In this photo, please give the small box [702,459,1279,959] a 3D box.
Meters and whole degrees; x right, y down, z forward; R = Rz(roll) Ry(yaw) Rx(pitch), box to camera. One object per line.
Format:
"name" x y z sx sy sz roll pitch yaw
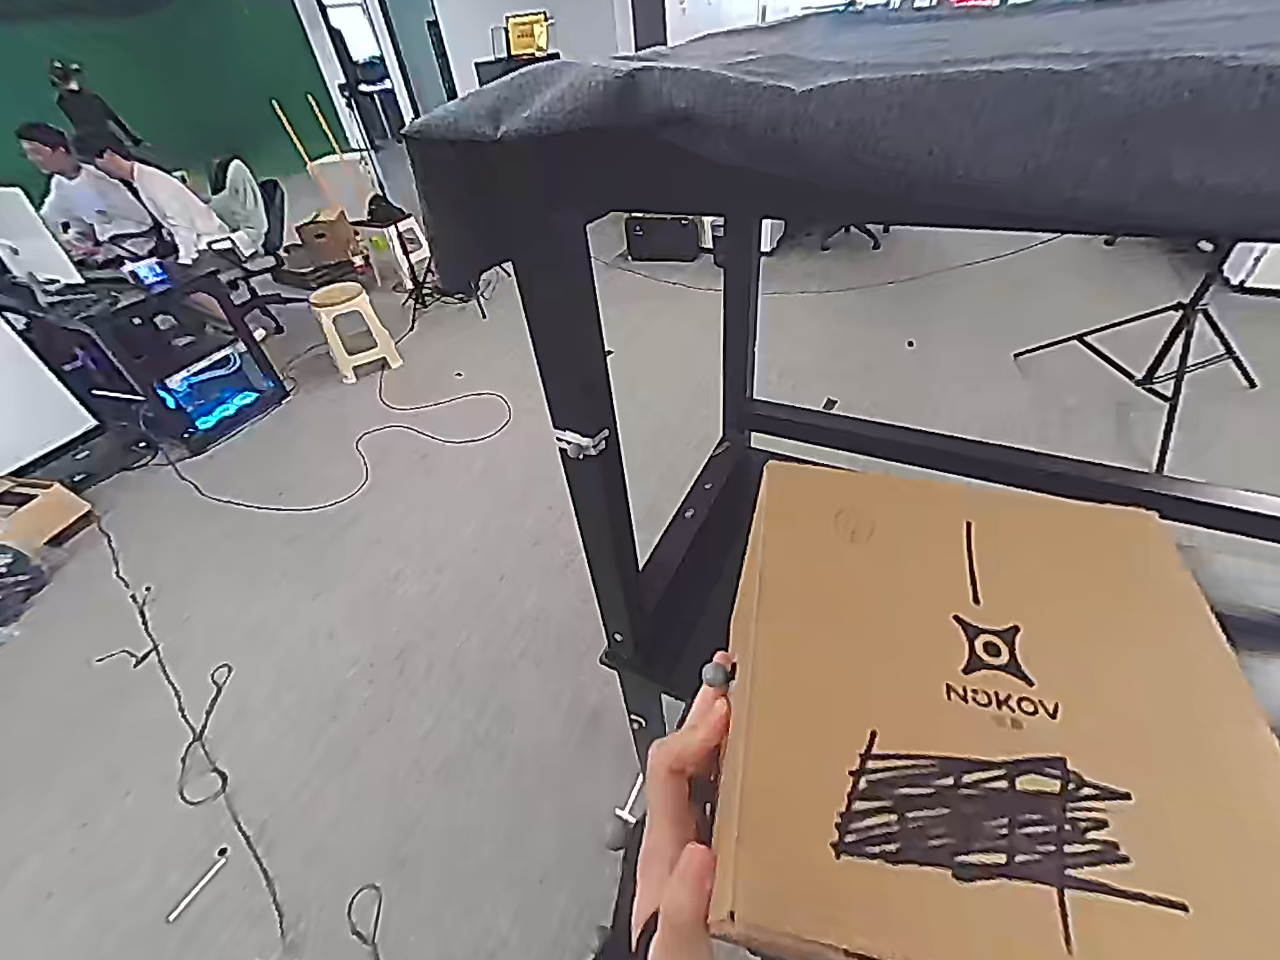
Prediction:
"small box" 0.122 0.118 0.247 0.168 0.176 0.179 8 50 9
